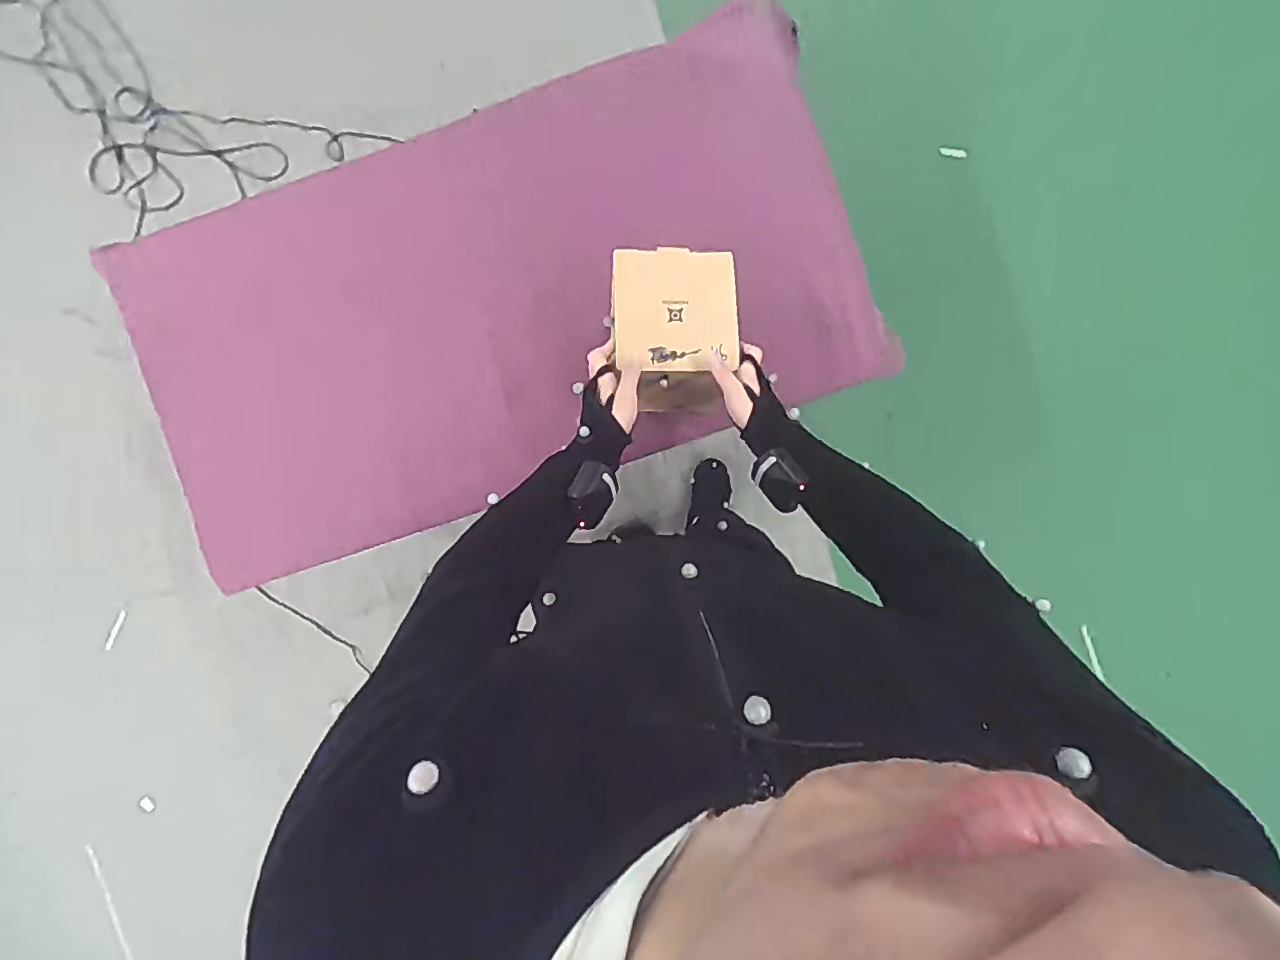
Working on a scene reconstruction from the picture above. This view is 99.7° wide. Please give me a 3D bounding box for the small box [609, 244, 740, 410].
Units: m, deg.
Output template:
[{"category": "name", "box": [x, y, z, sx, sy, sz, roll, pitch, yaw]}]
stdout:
[{"category": "small box", "box": [0.039, -0.210, 0.778, 0.168, 0.176, 0.179, 0, 81, -4]}]
